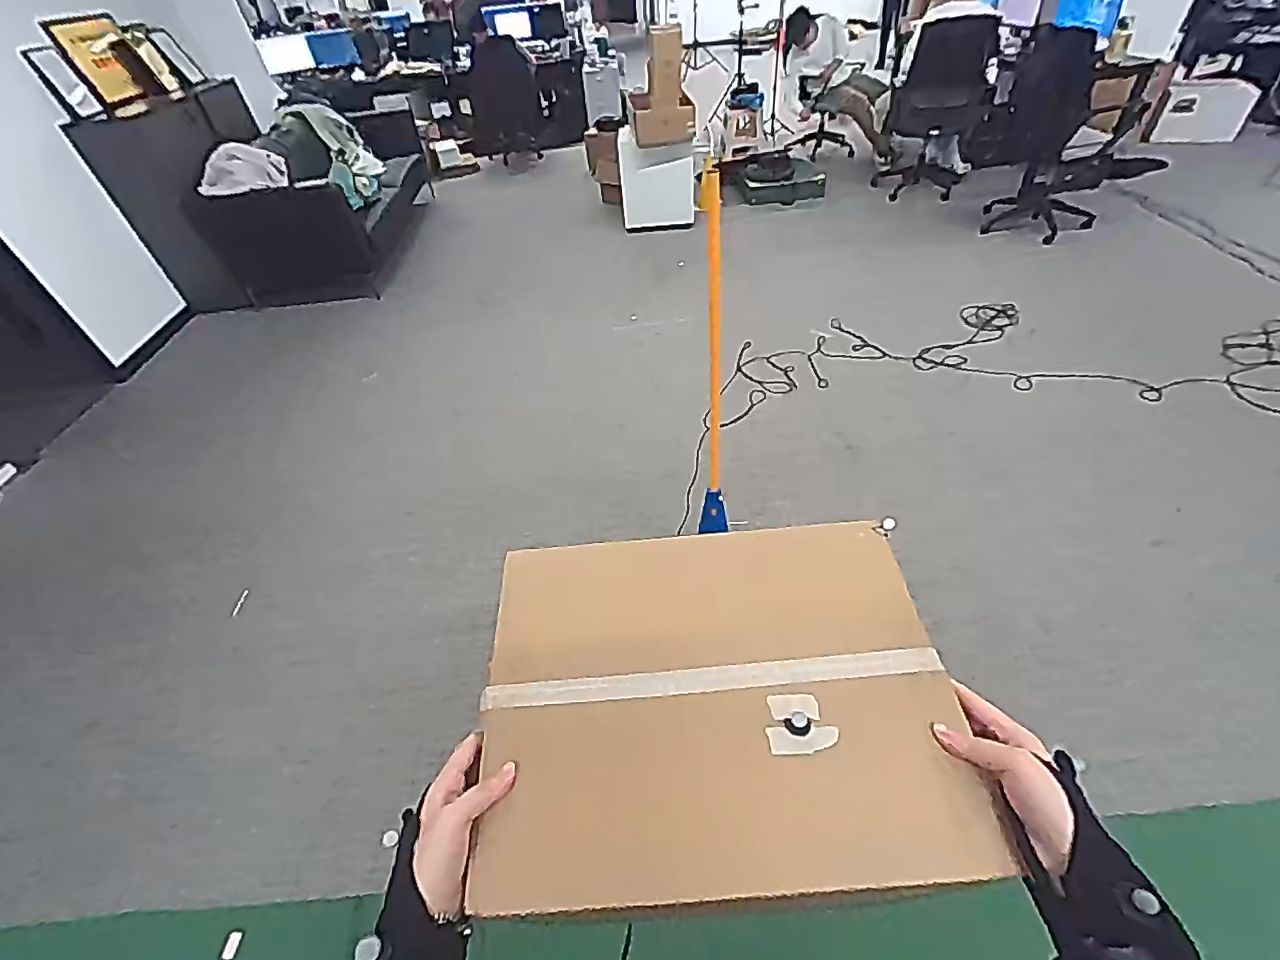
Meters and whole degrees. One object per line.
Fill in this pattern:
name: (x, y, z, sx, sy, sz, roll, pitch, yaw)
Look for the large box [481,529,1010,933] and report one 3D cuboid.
large box: (0.074, 0.284, 0.605, 0.408, 0.320, 0.320, -5, 49, 0)
